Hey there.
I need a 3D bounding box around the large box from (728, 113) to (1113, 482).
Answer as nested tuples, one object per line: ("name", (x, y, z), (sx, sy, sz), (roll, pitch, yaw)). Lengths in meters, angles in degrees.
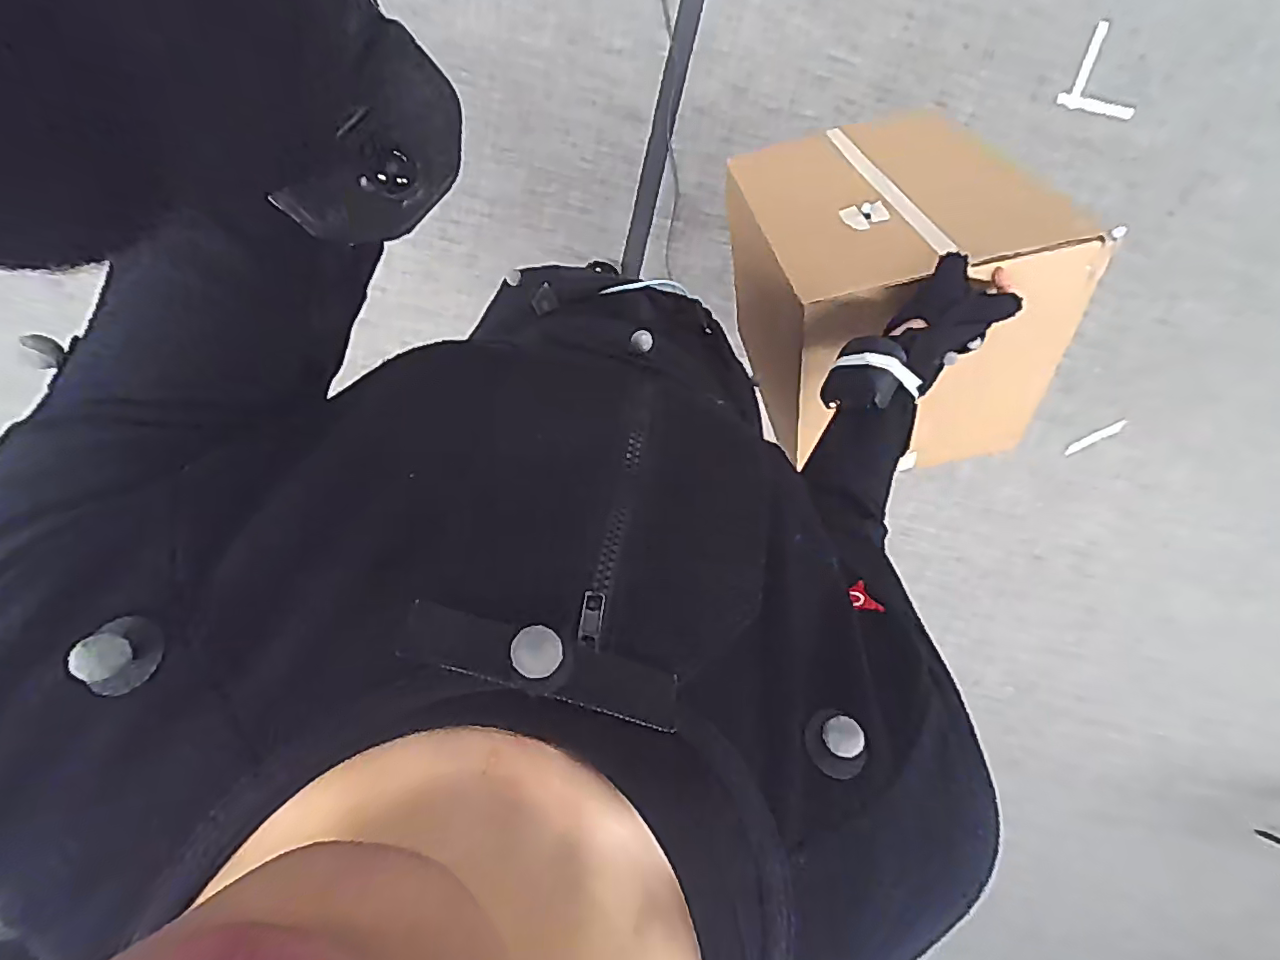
("large box", (0.331, -0.265, 0.791), (0.320, 0.408, 0.320), (-12, 141, 5))
